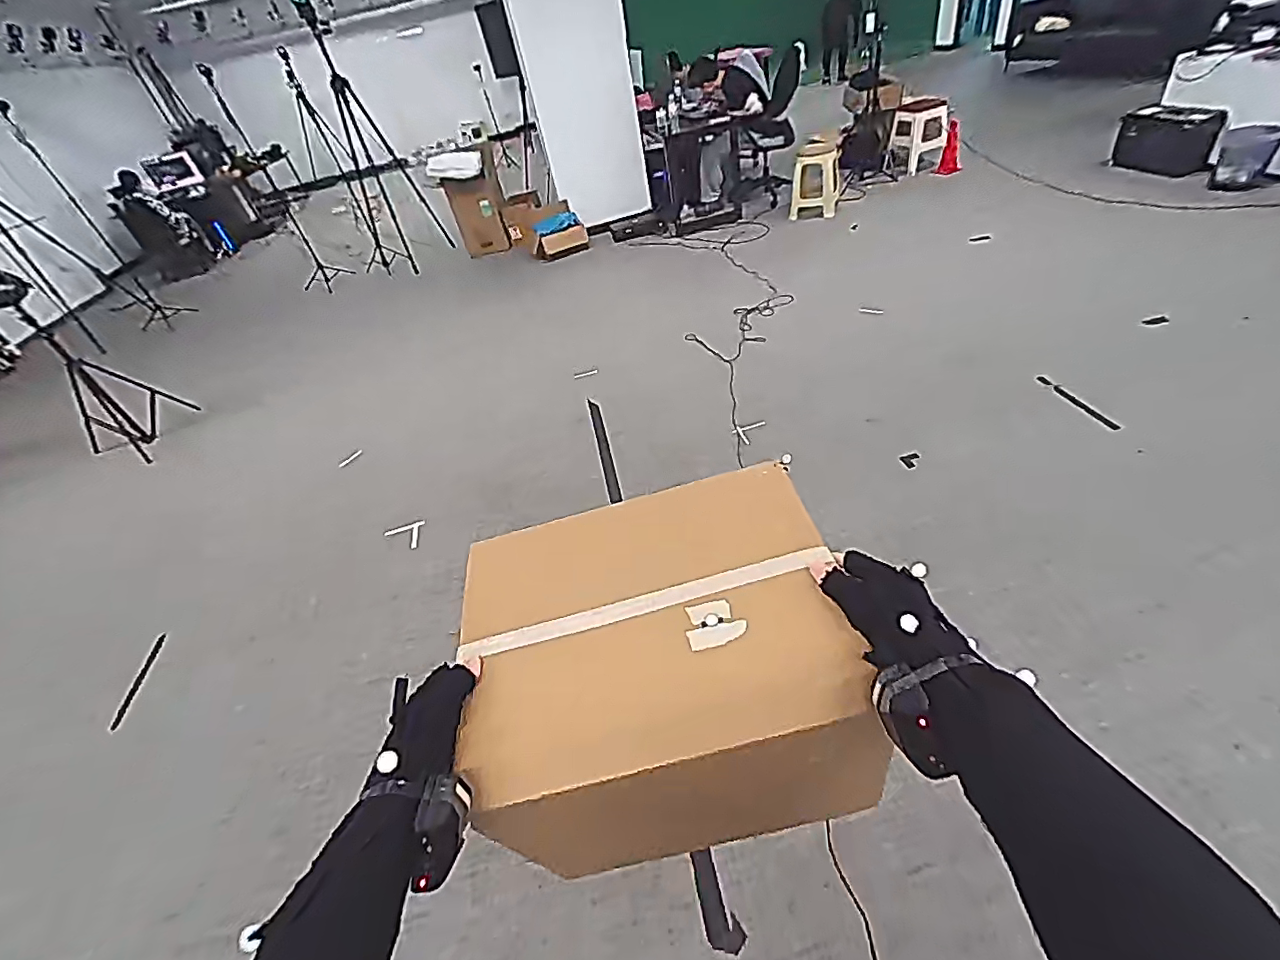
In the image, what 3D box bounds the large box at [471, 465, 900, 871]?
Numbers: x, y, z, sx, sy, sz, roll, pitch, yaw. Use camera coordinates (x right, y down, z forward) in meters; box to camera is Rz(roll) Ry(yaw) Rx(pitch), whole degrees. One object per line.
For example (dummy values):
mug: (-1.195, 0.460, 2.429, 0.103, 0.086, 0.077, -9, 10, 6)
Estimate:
large box: (0.045, 0.238, 0.683, 0.408, 0.320, 0.320, -15, 44, 2)
